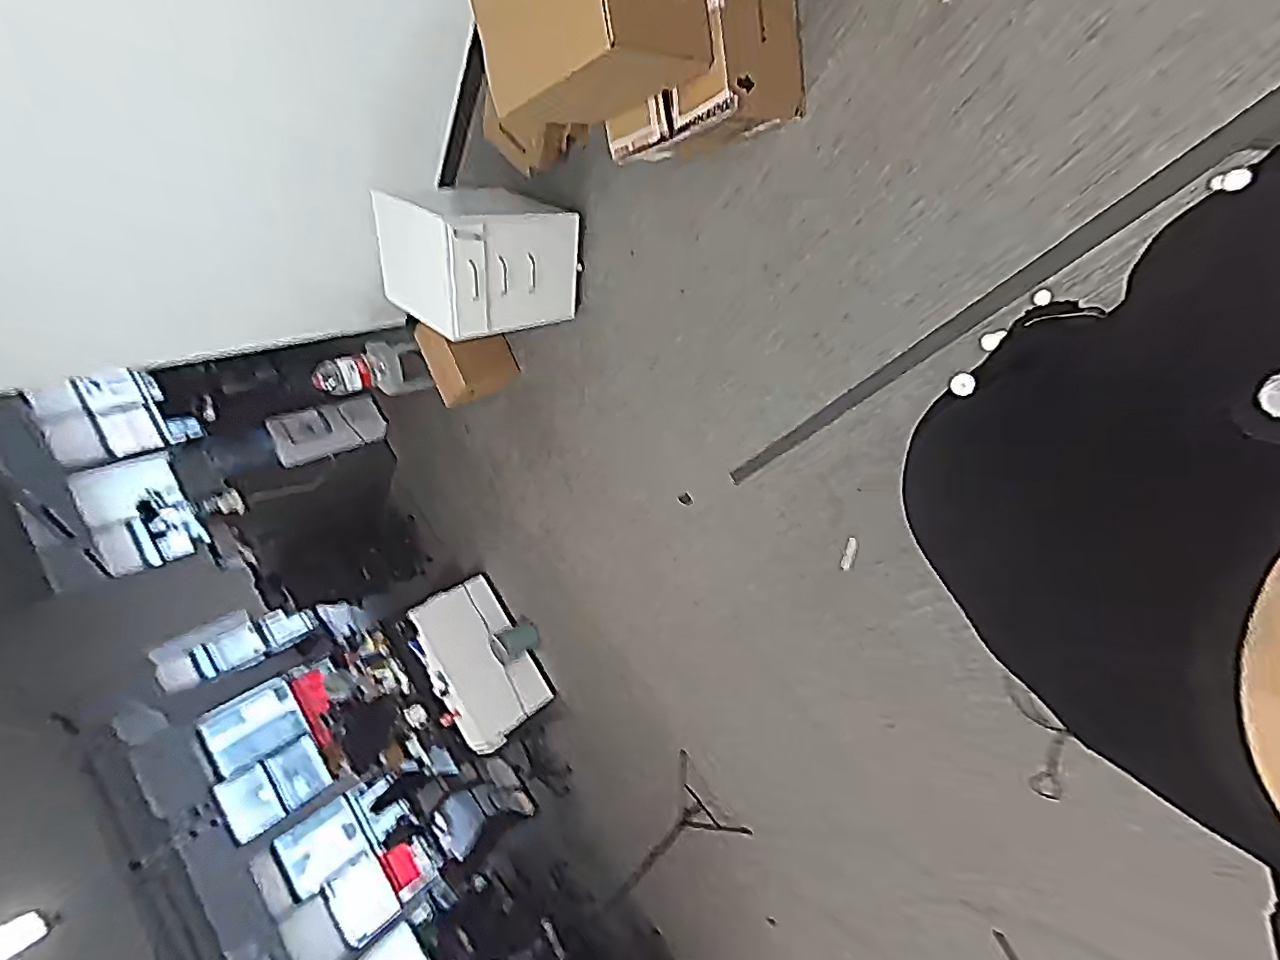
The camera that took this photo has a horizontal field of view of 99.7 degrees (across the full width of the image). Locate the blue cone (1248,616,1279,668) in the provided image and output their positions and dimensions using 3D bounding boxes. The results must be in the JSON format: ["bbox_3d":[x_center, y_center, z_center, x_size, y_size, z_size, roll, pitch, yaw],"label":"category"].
[{"bbox_3d":[1.219,0.383,0.932,0.193,0.380,0.192,56,141,11],"label":"blue cone"}]
